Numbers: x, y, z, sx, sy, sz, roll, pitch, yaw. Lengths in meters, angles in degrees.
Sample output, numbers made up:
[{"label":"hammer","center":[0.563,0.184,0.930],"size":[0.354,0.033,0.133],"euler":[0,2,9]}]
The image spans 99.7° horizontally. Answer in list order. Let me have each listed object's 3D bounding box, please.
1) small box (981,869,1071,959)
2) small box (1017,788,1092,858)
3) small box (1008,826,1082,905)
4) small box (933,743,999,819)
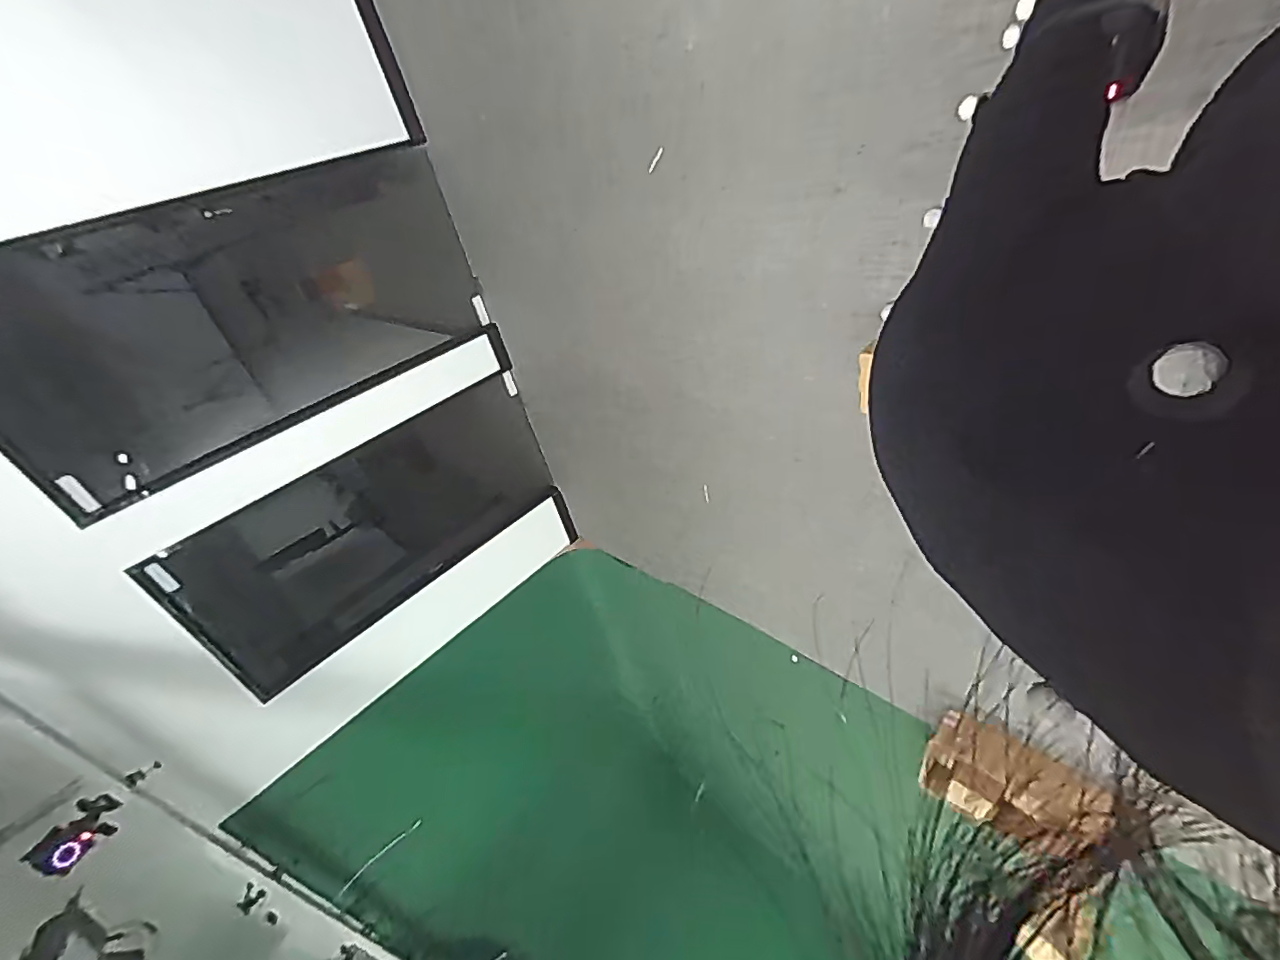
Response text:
[{"label":"small box","center":[1.287,1.435,1.797],"size":[0.168,0.176,0.179],"euler":[39,148,23]},{"label":"small box","center":[1.514,1.278,1.974],"size":[0.168,0.176,0.179],"euler":[21,137,41]},{"label":"small box","center":[1.403,1.357,1.882],"size":[0.168,0.176,0.179],"euler":[24,140,41]},{"label":"small box","center":[1.313,1.206,2.175],"size":[0.168,0.176,0.179],"euler":[26,140,36]}]
